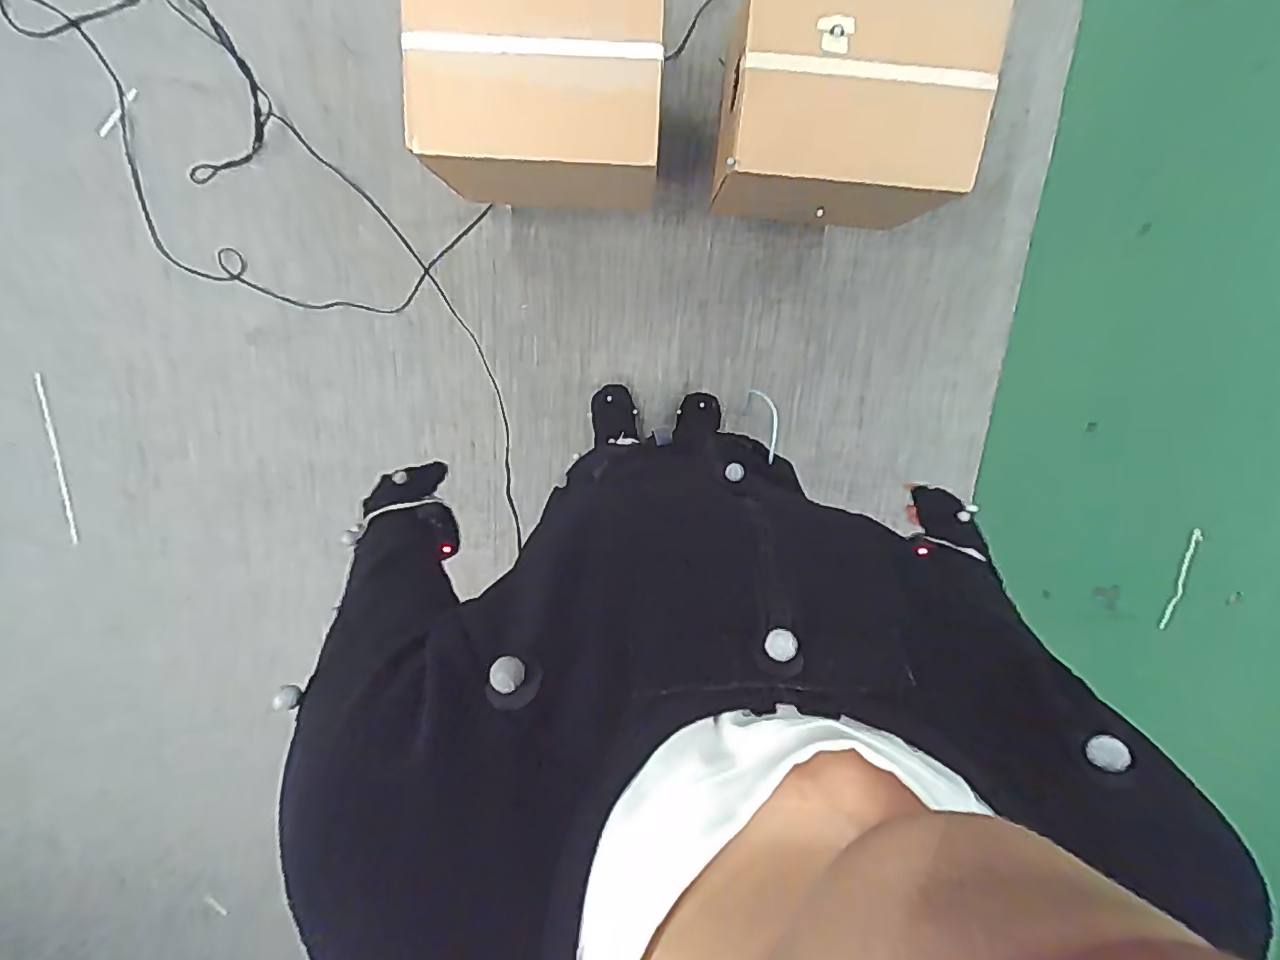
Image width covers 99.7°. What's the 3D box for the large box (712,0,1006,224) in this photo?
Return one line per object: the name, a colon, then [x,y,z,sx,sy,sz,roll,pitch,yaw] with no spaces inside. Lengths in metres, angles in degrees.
large box: [0.366,-0.684,1.014,0.408,0.320,0.320,5,104,-1]
